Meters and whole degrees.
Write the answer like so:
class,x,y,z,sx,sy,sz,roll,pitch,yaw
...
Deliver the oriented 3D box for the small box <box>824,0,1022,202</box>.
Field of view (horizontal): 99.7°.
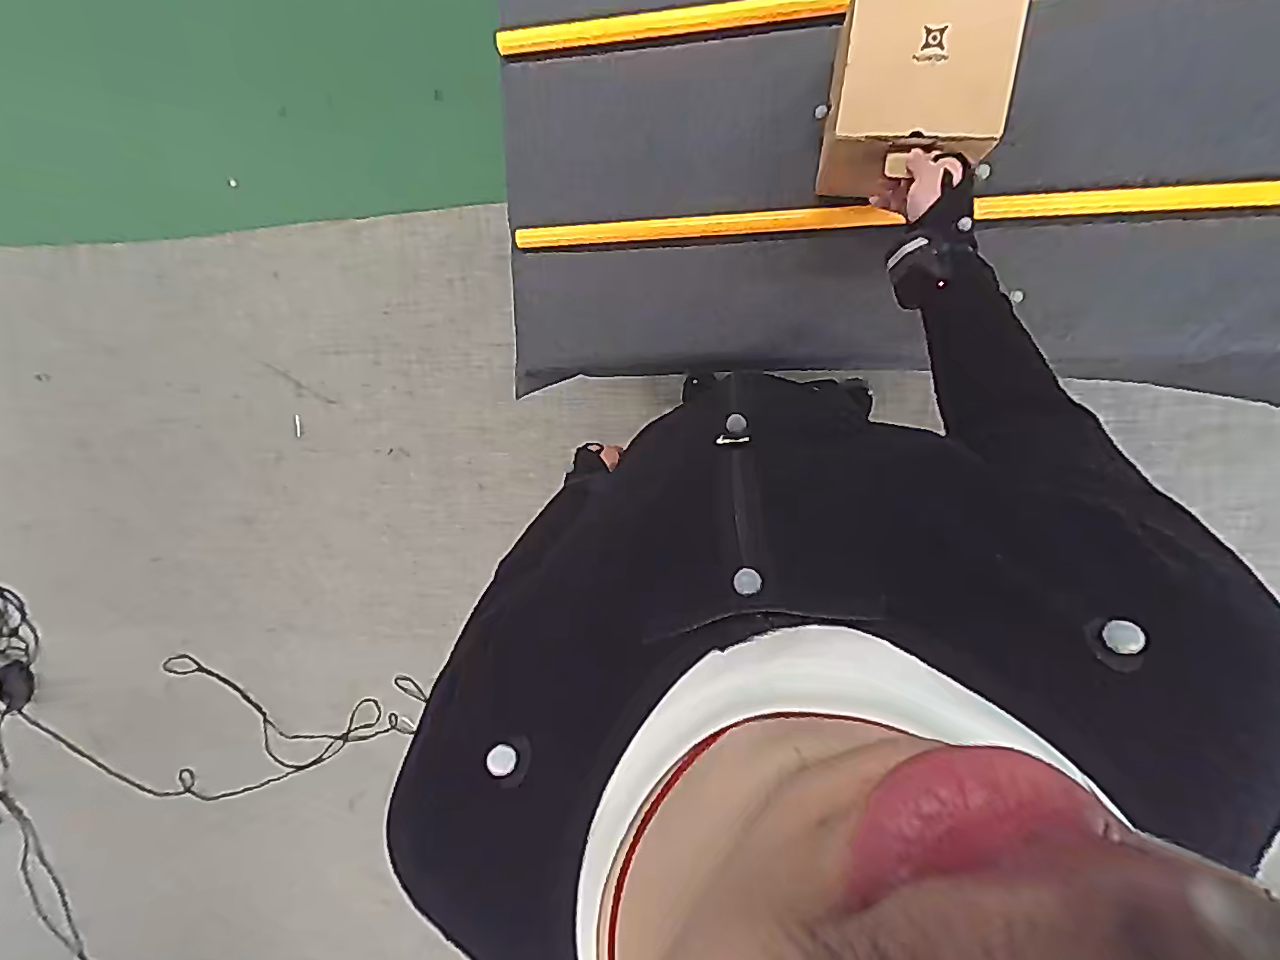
class,x,y,z,sx,sy,sz,roll,pitch,yaw
small box,0.317,-0.446,0.640,0.168,0.176,0.179,5,97,12
